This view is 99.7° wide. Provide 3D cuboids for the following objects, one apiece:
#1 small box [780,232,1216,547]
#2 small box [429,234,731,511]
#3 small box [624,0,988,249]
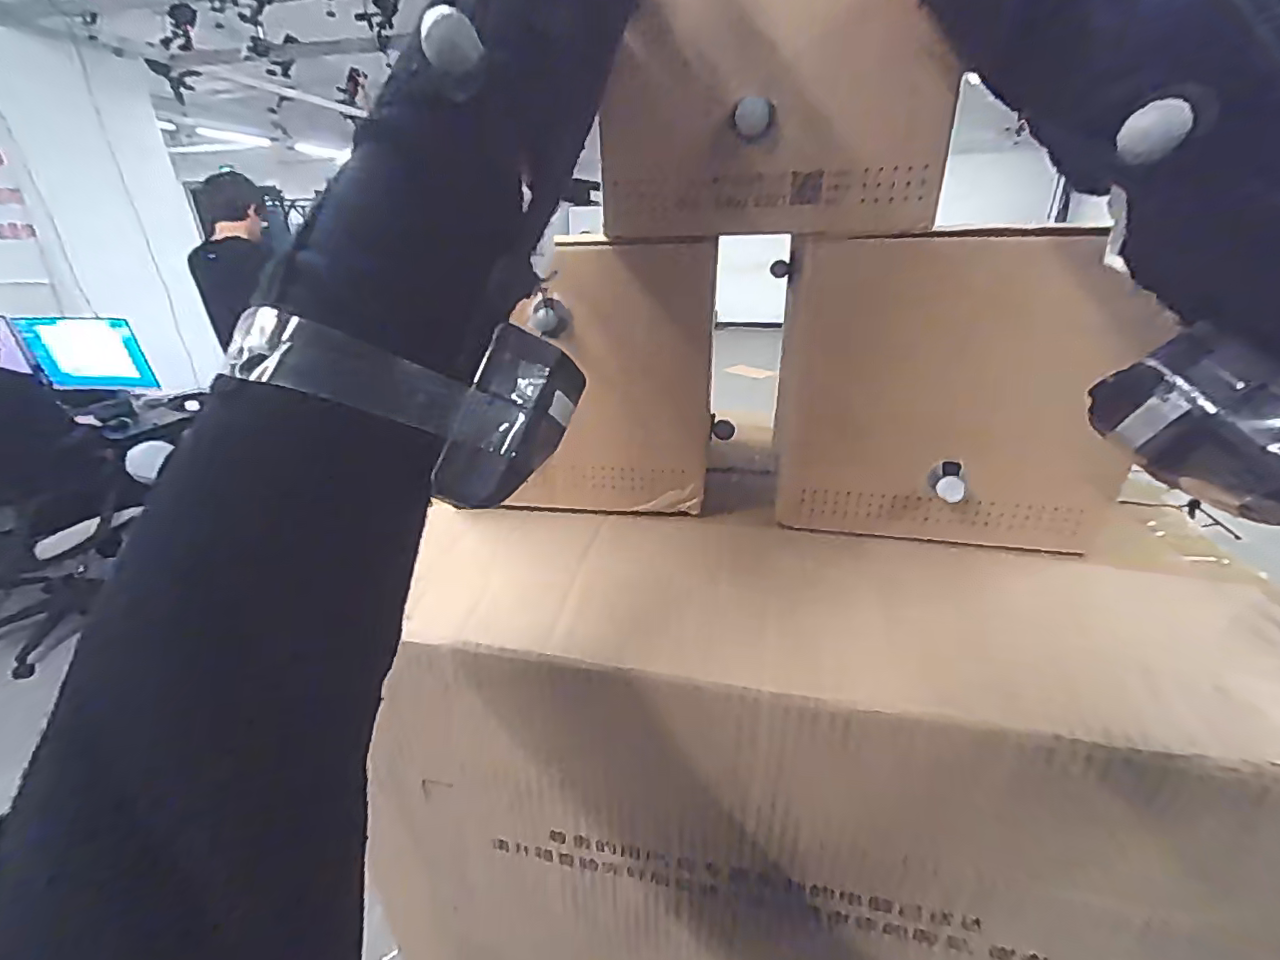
[{"bbox_3d":[0.193,-0.070,0.361,0.179,0.176,0.168,4,25,11],"label":"small box"},{"bbox_3d":[-0.025,-0.087,0.402,0.179,0.176,0.168,4,25,8],"label":"small box"},{"bbox_3d":[0.086,-0.233,0.321,0.168,0.176,0.179,4,26,12],"label":"small box"}]
